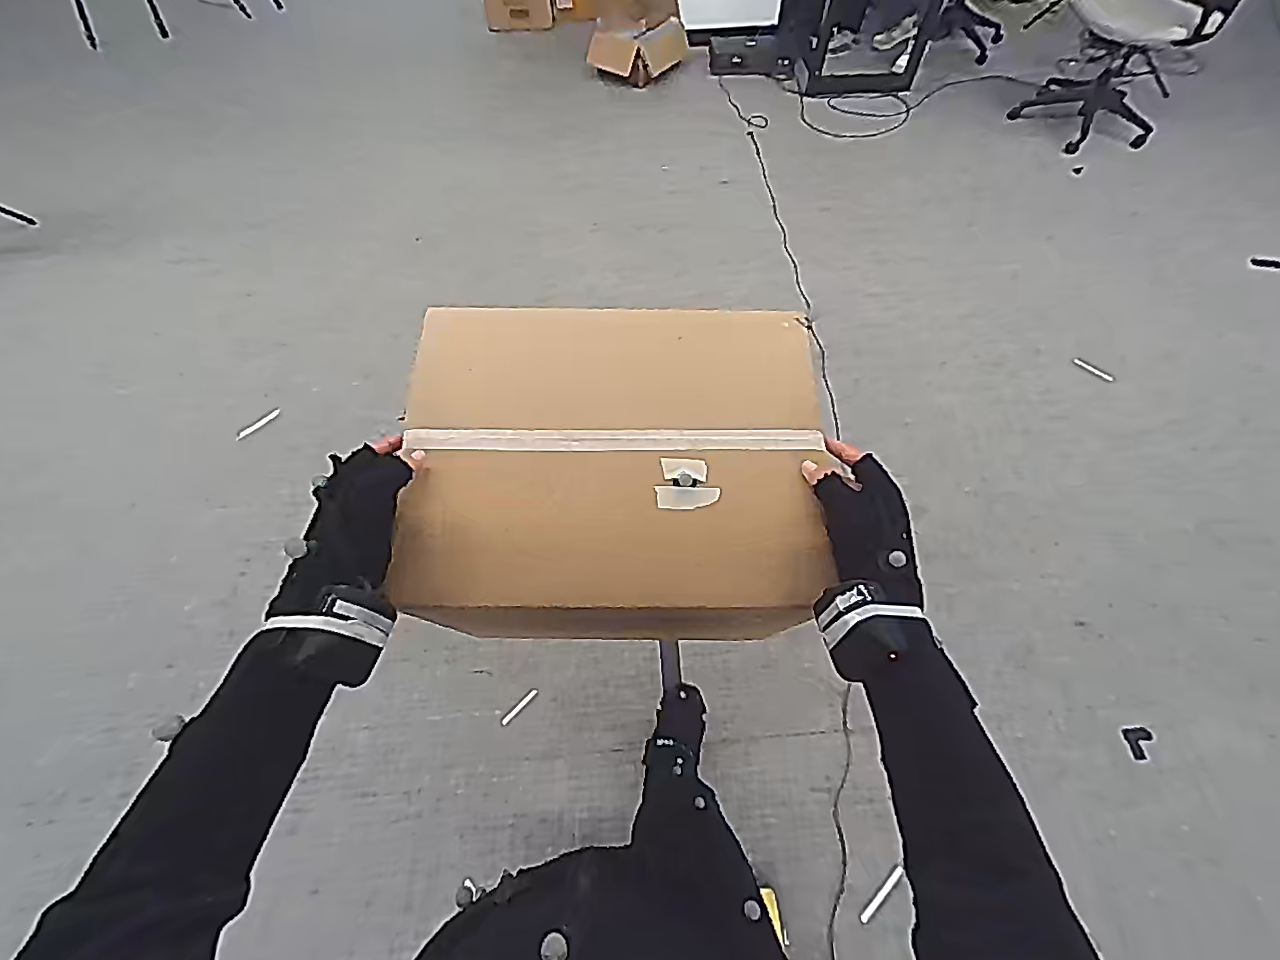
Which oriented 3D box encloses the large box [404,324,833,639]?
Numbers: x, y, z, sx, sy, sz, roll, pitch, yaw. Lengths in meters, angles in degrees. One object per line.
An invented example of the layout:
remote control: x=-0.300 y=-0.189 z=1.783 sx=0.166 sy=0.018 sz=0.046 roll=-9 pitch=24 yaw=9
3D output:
large box: x=-0.025 y=0.025 z=0.685 sx=0.408 sy=0.320 sz=0.320 roll=1 pitch=69 yaw=-2
